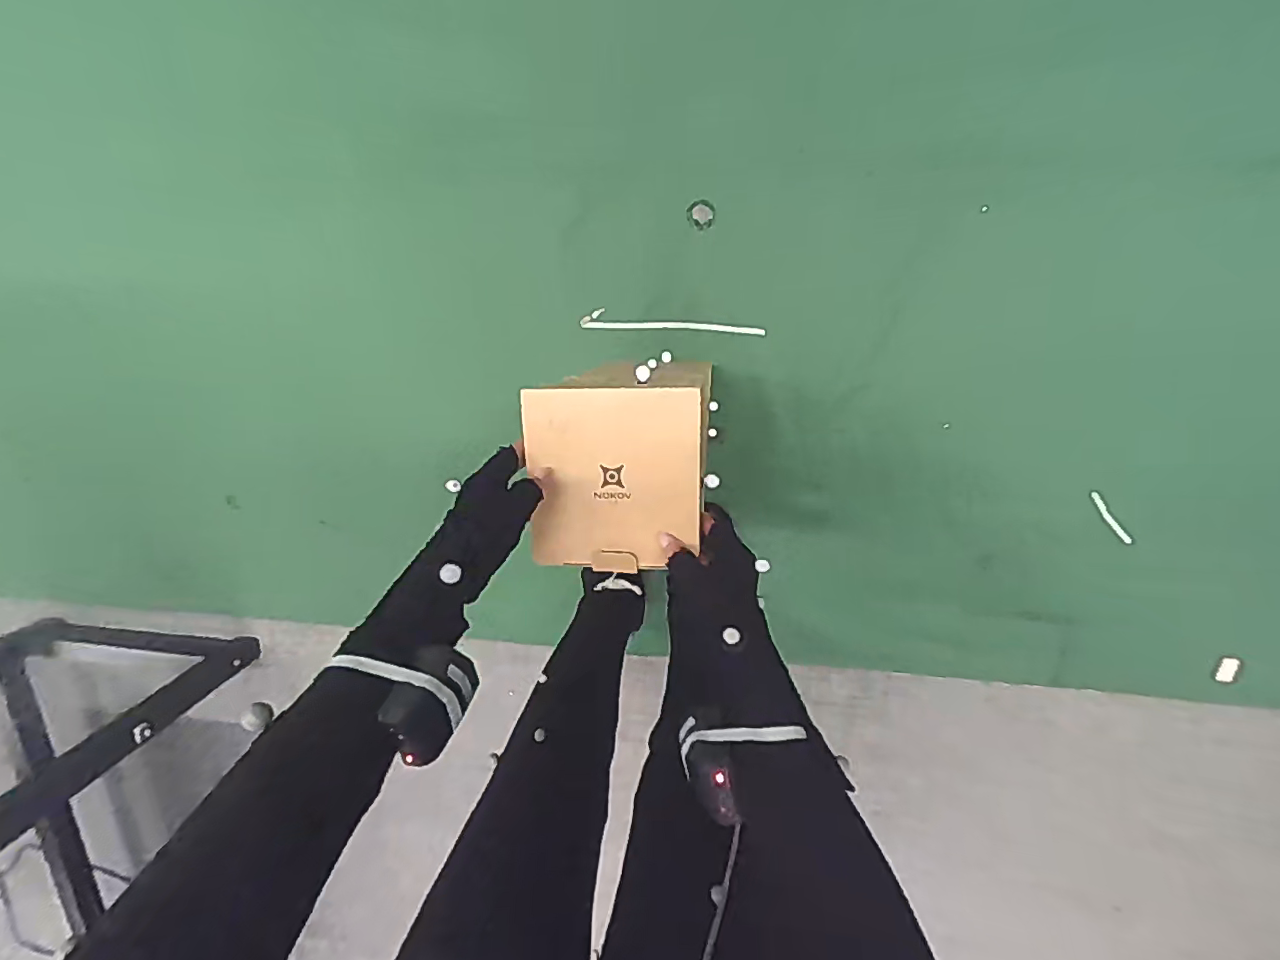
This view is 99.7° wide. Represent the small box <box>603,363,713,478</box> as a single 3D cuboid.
[{"bbox_3d":[0.033,-0.098,0.901,0.168,0.176,0.179,4,105,7],"label":"small box"}]

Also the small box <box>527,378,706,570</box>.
[{"bbox_3d":[-0.014,-0.018,0.586,0.168,0.176,0.179,1,105,8],"label":"small box"}]
